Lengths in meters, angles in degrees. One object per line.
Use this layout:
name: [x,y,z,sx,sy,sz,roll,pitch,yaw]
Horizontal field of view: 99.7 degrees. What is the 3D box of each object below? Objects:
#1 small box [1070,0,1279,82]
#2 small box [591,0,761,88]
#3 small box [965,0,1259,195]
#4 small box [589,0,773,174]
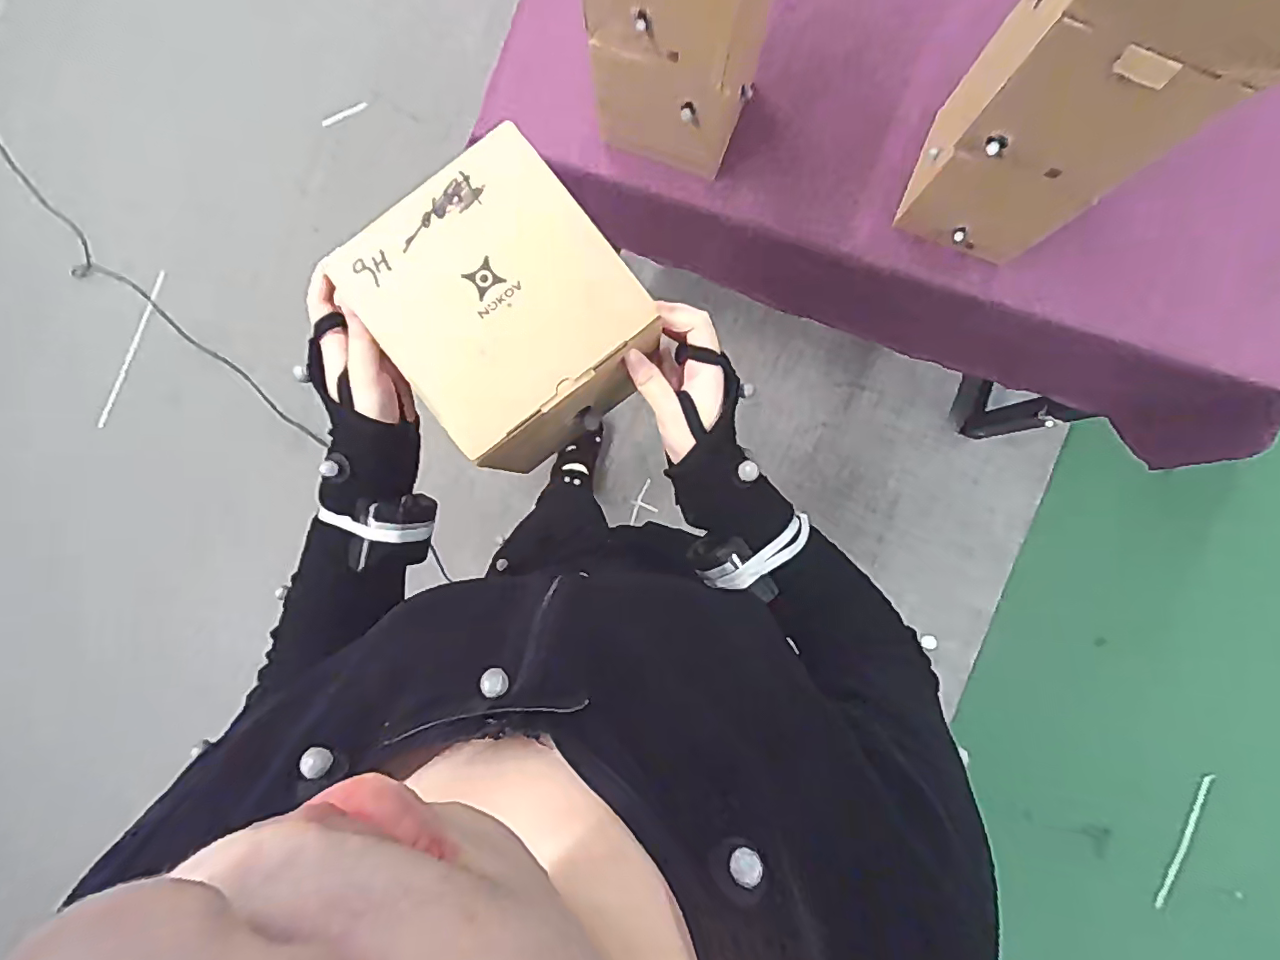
small box: [0.441,-0.412,0.348,0.179,0.176,0.168,26,91,3]
small box: [0.047,-0.551,0.536,0.168,0.176,0.179,22,90,3]
small box: [0.449,-0.413,0.511,0.168,0.176,0.179,24,88,3]
small box: [0.054,-0.535,0.698,0.179,0.176,0.168,21,88,3]
